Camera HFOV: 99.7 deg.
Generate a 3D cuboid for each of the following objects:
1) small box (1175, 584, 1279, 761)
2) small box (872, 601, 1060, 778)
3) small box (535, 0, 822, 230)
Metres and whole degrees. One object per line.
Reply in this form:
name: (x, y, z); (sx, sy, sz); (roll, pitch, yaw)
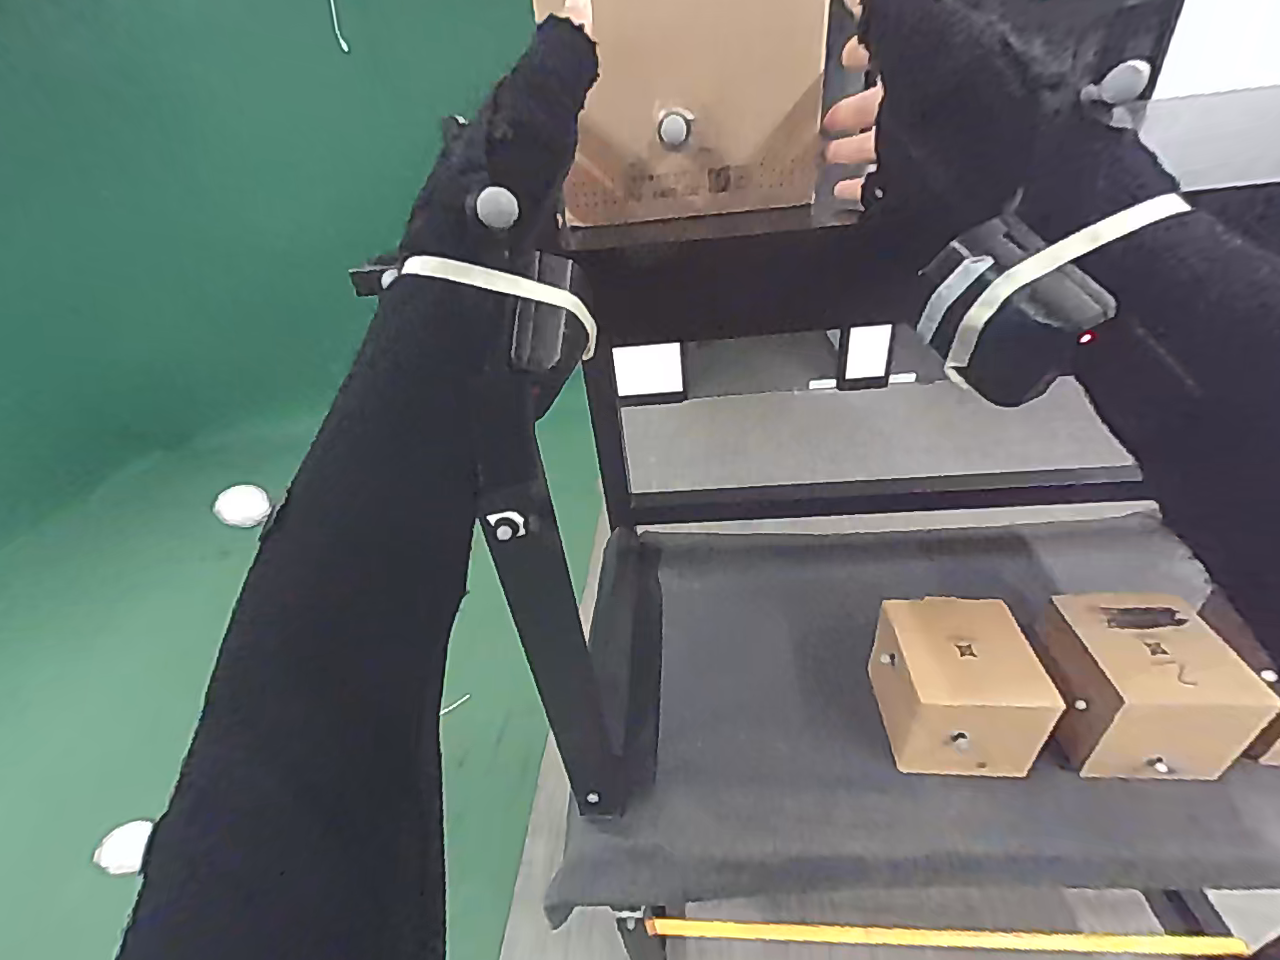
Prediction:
small box: (0.890, 0.260, 0.720); (0.168, 0.176, 0.179); (-1, 33, 9)
small box: (0.440, 0.294, 0.765); (0.168, 0.176, 0.179); (-2, 33, 9)
small box: (0.027, -0.285, 0.389); (0.168, 0.176, 0.179); (-3, 34, 7)
